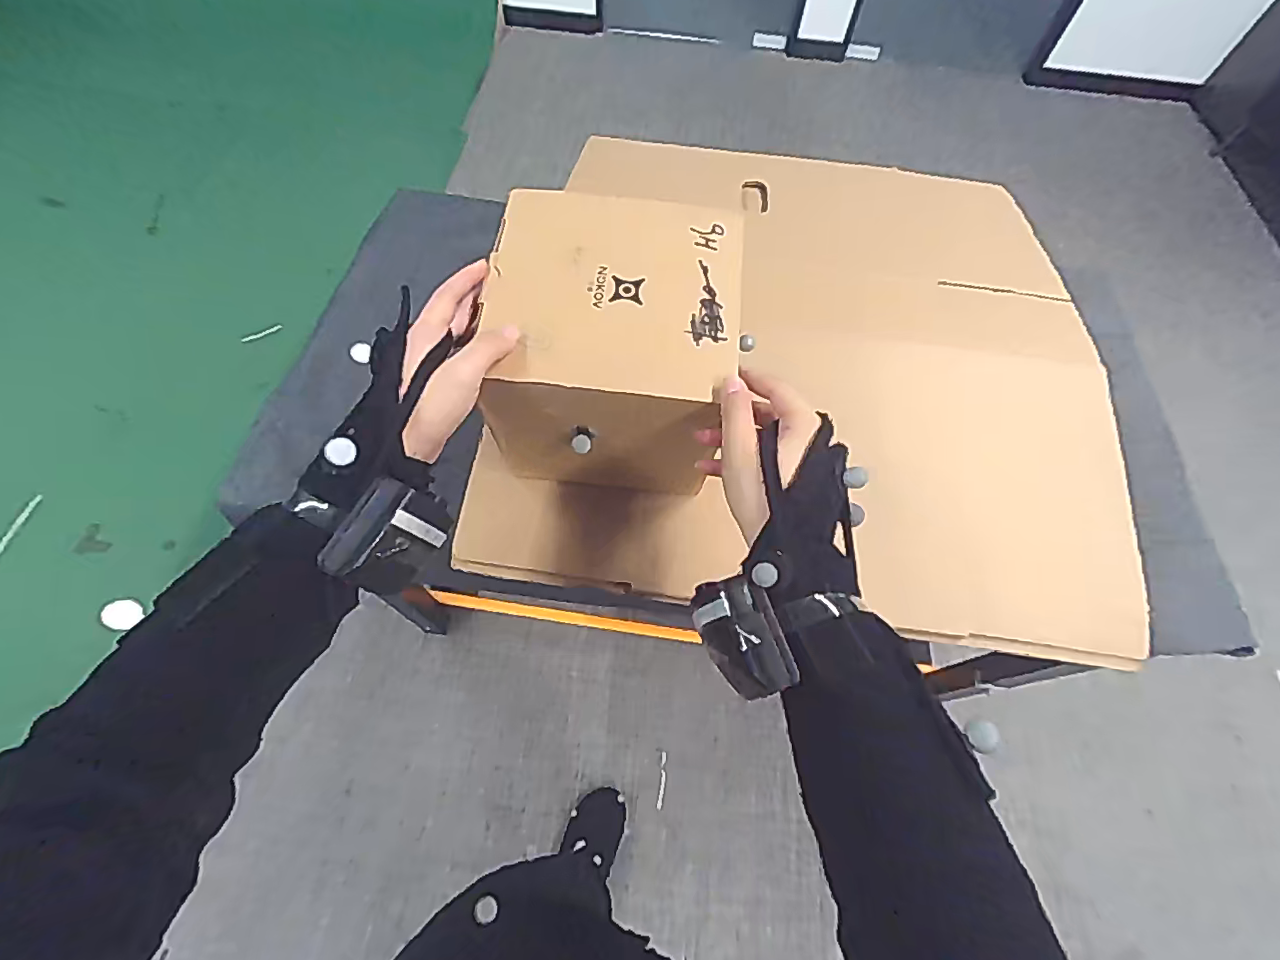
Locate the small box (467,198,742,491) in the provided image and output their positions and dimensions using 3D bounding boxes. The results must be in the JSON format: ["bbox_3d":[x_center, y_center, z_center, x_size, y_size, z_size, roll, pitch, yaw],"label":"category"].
[{"bbox_3d":[-0.020,-0.099,0.450,0.179,0.176,0.168,6,68,1],"label":"small box"}]
